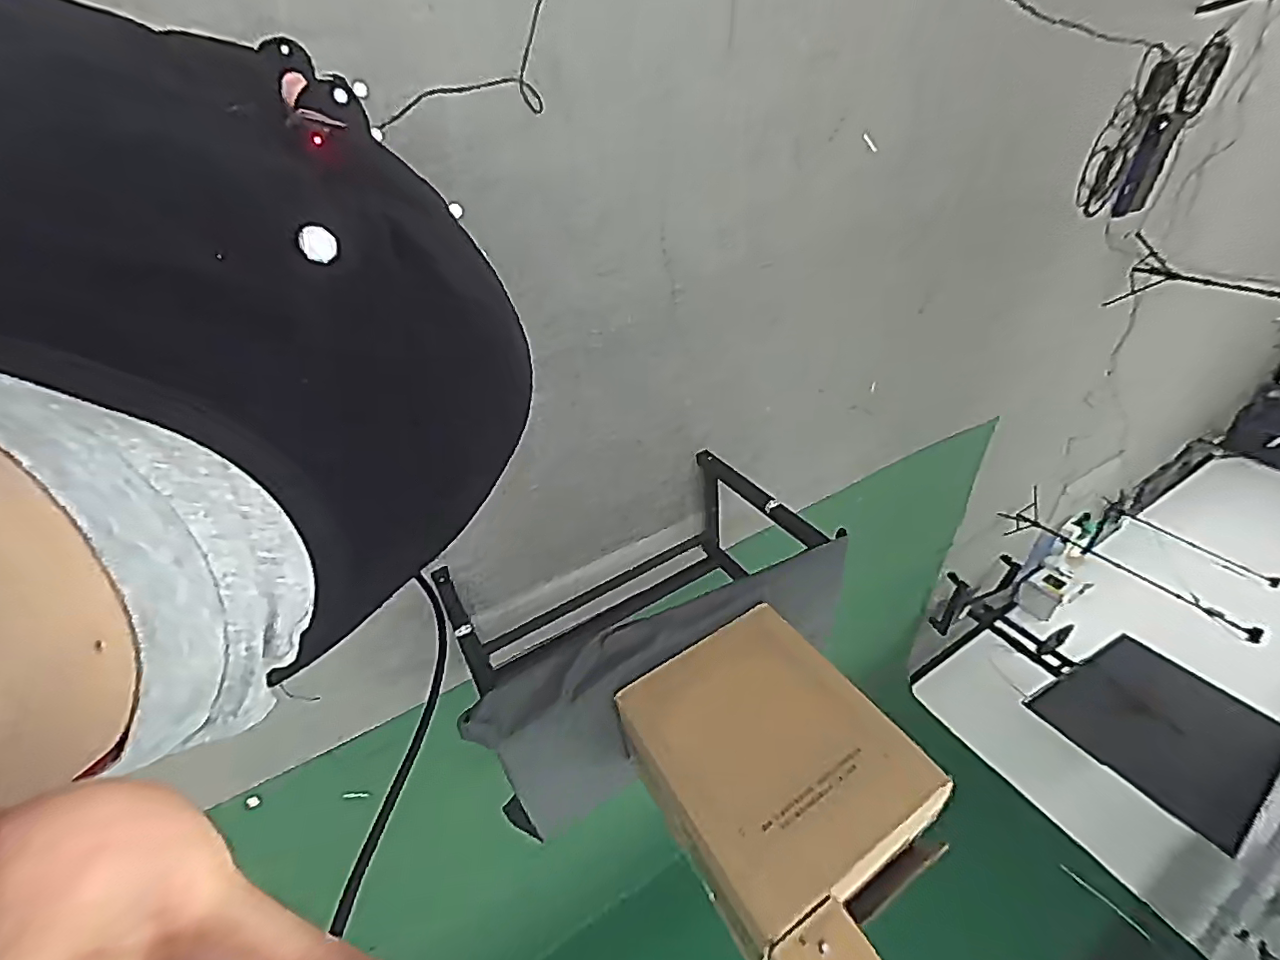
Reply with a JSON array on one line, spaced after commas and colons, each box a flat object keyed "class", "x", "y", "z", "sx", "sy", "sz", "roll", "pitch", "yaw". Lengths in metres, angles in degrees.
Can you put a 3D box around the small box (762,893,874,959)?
[{"class": "small box", "x": 0.354, "y": 0.959, "z": 1.056, "sx": 0.168, "sy": 0.176, "sz": 0.179, "roll": -25, "pitch": 130, "yaw": -20}]
